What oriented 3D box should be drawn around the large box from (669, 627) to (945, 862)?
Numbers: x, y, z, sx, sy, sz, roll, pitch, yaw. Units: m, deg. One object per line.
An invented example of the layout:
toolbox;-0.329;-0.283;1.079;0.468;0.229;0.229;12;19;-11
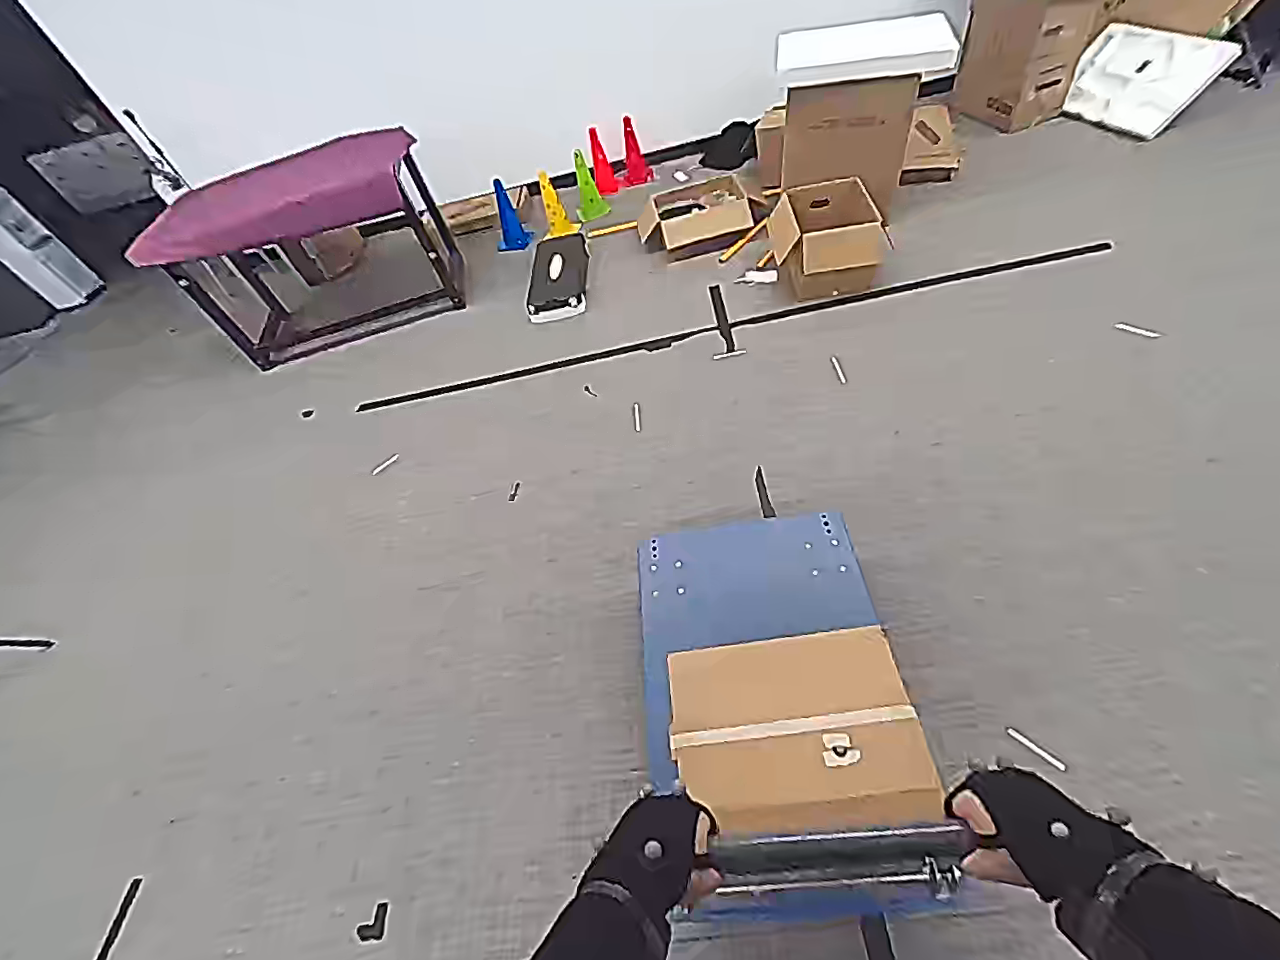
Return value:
large box;0.288;0.520;1.049;0.408;0.320;0.320;-10;51;5
